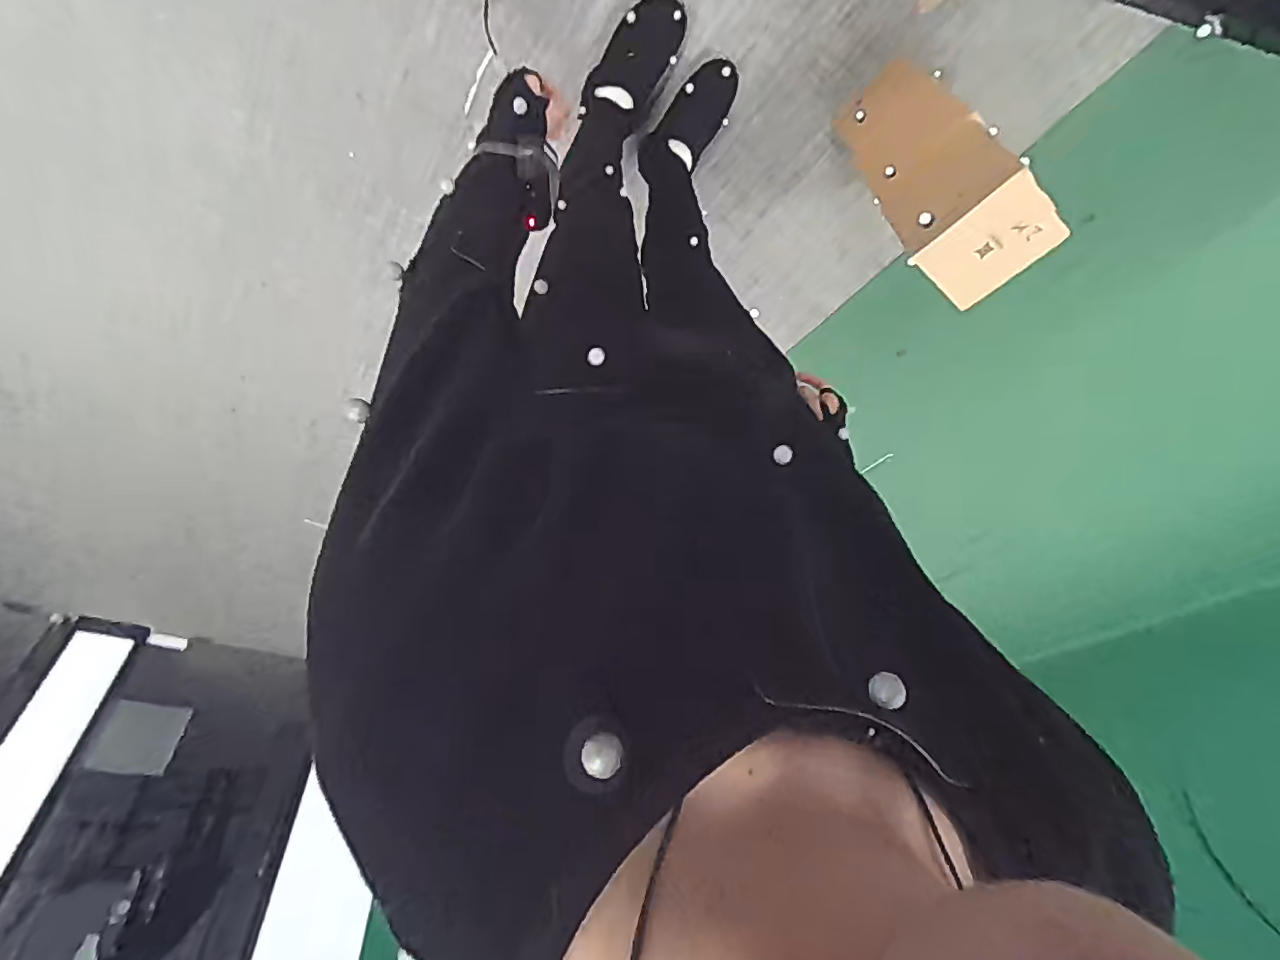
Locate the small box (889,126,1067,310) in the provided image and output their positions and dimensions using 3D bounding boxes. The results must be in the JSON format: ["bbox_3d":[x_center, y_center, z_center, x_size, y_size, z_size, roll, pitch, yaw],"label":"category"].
[{"bbox_3d":[0.537,-0.425,0.887,0.168,0.176,0.179,25,134,-30],"label":"small box"}]

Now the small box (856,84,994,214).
[{"bbox_3d":[0.526,-0.563,0.978,0.168,0.176,0.179,25,135,-29],"label":"small box"}]

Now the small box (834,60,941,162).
[{"bbox_3d":[0.517,-0.691,1.077,0.179,0.176,0.168,27,132,-31],"label":"small box"}]
